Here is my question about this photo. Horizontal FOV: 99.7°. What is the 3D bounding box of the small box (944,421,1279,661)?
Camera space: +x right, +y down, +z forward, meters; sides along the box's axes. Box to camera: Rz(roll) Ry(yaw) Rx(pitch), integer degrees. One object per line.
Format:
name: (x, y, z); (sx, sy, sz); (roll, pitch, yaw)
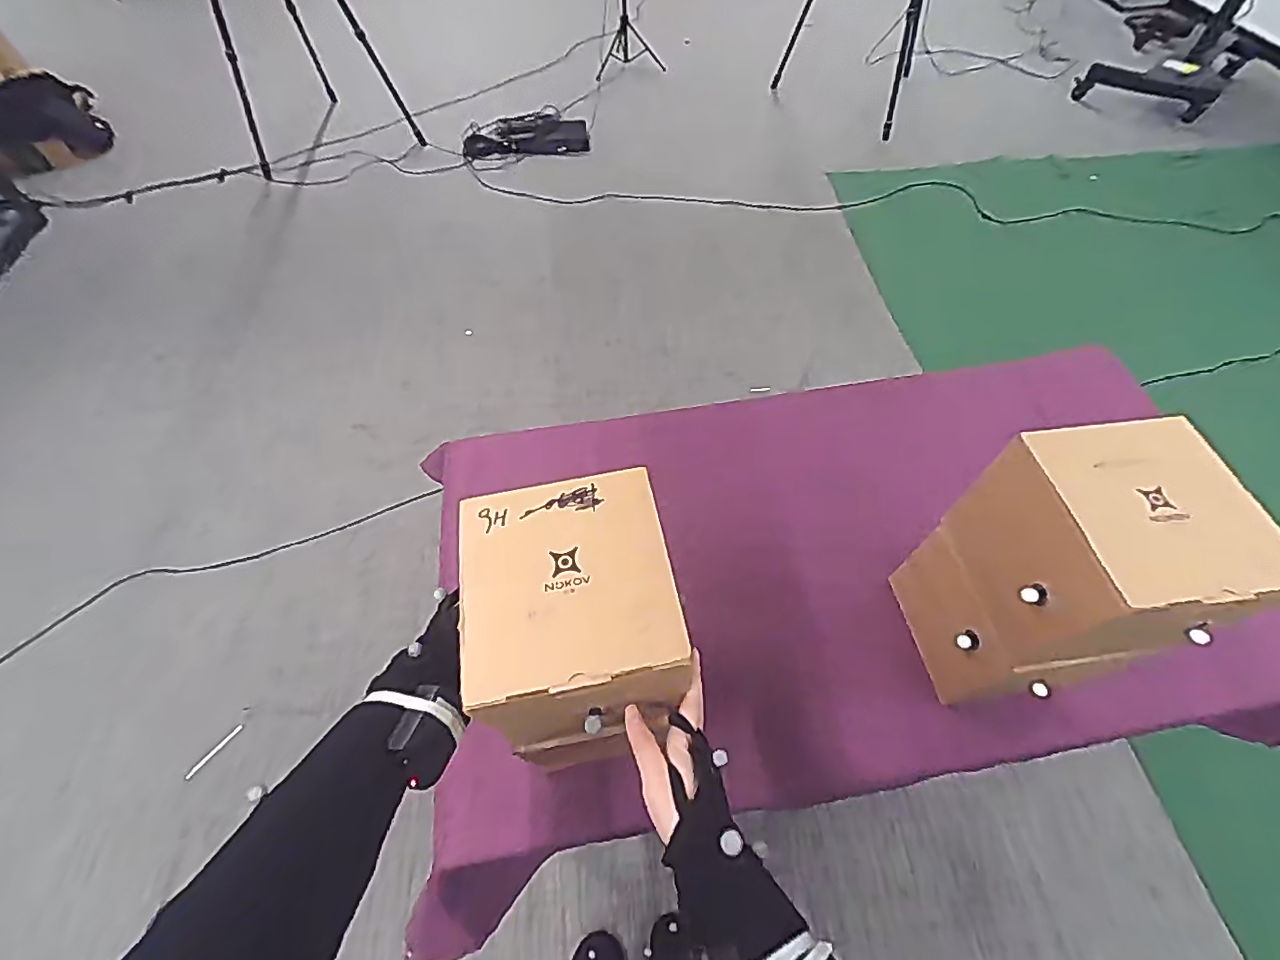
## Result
small box: (0.439, 0.067, 0.527); (0.168, 0.176, 0.179); (-6, 56, -2)

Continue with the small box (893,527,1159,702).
small box: (0.444, 0.162, 0.660); (0.168, 0.176, 0.179); (-7, 56, -3)

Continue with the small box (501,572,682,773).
small box: (-0.054, 0.230, 0.633); (0.179, 0.176, 0.168); (-10, 56, -6)
